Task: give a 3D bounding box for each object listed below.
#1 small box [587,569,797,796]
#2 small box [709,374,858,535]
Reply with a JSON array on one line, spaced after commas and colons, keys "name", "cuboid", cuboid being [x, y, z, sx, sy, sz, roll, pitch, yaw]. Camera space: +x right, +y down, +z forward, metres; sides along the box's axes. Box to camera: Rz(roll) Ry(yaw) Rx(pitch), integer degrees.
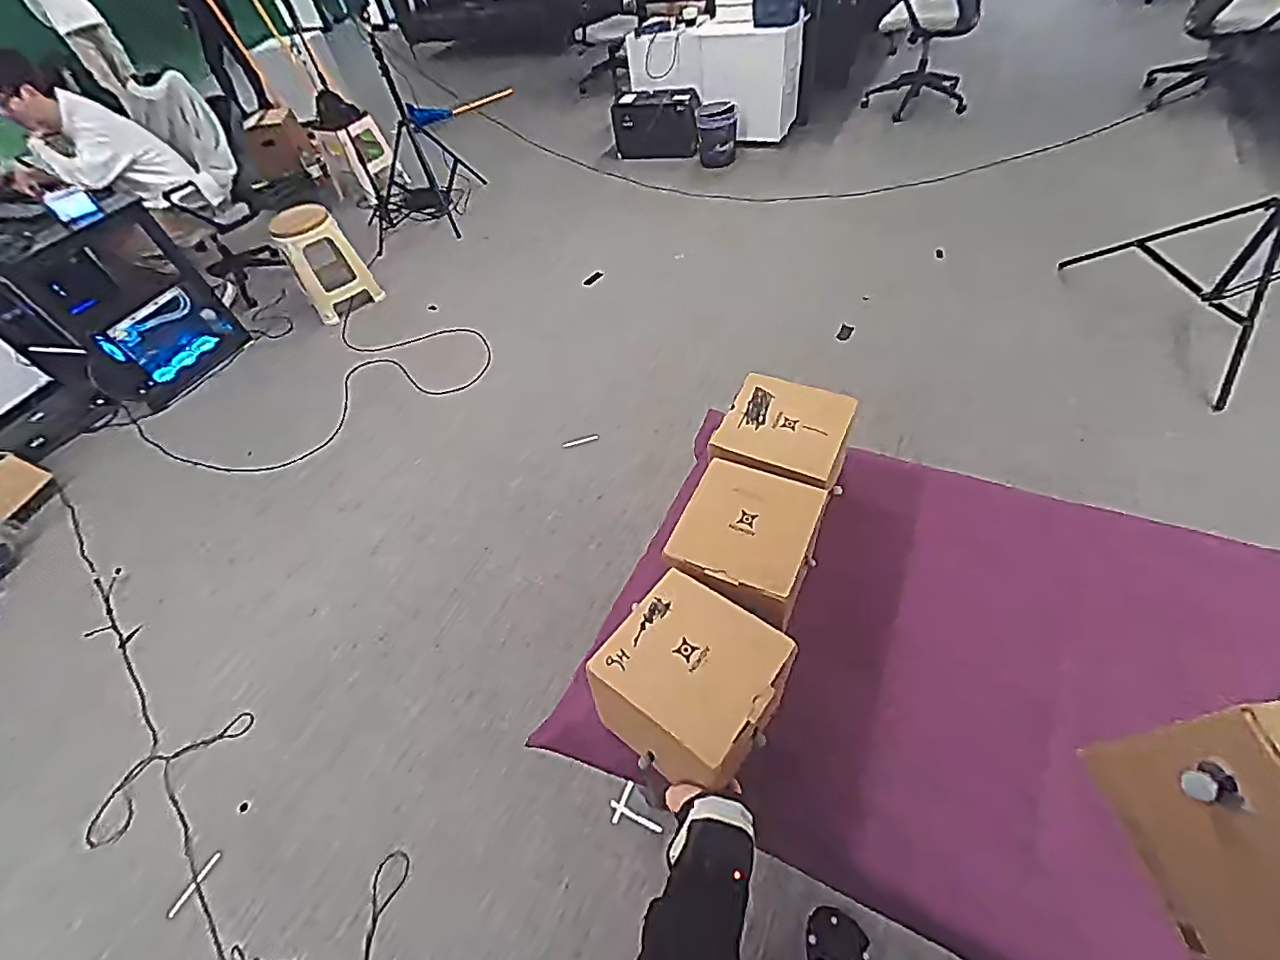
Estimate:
[{"name": "small box", "cuboid": [0.061, 0.249, 0.656, 0.179, 0.176, 0.168, 30, 55, 27]}, {"name": "small box", "cuboid": [0.223, -0.038, 0.863, 0.179, 0.176, 0.168, 20, 59, 22]}]
